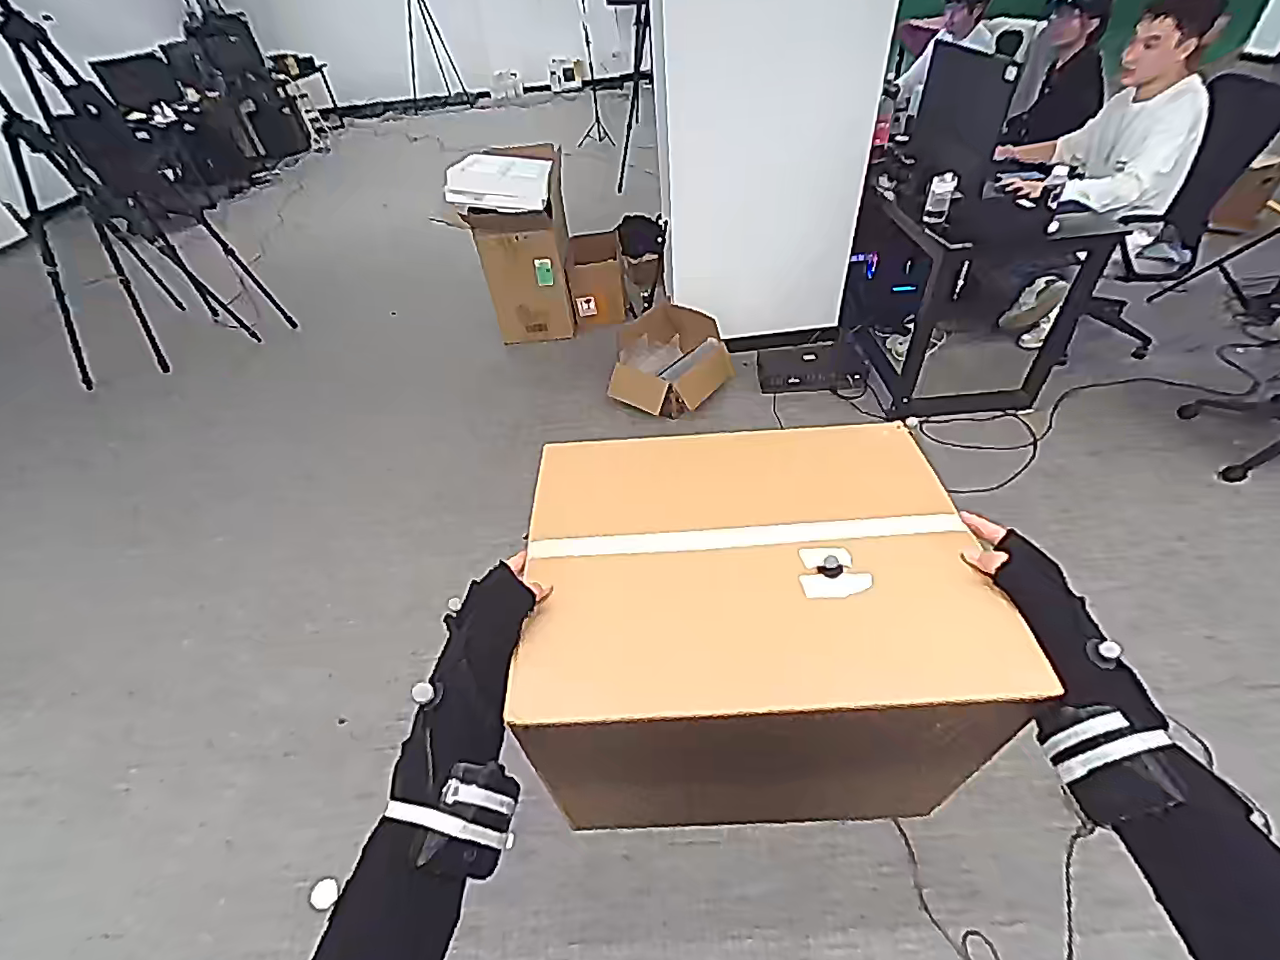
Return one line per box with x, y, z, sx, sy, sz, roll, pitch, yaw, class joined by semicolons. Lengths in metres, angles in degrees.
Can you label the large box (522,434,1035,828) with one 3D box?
0.107;0.173;0.621;0.408;0.320;0.320;-4;44;1;large box
